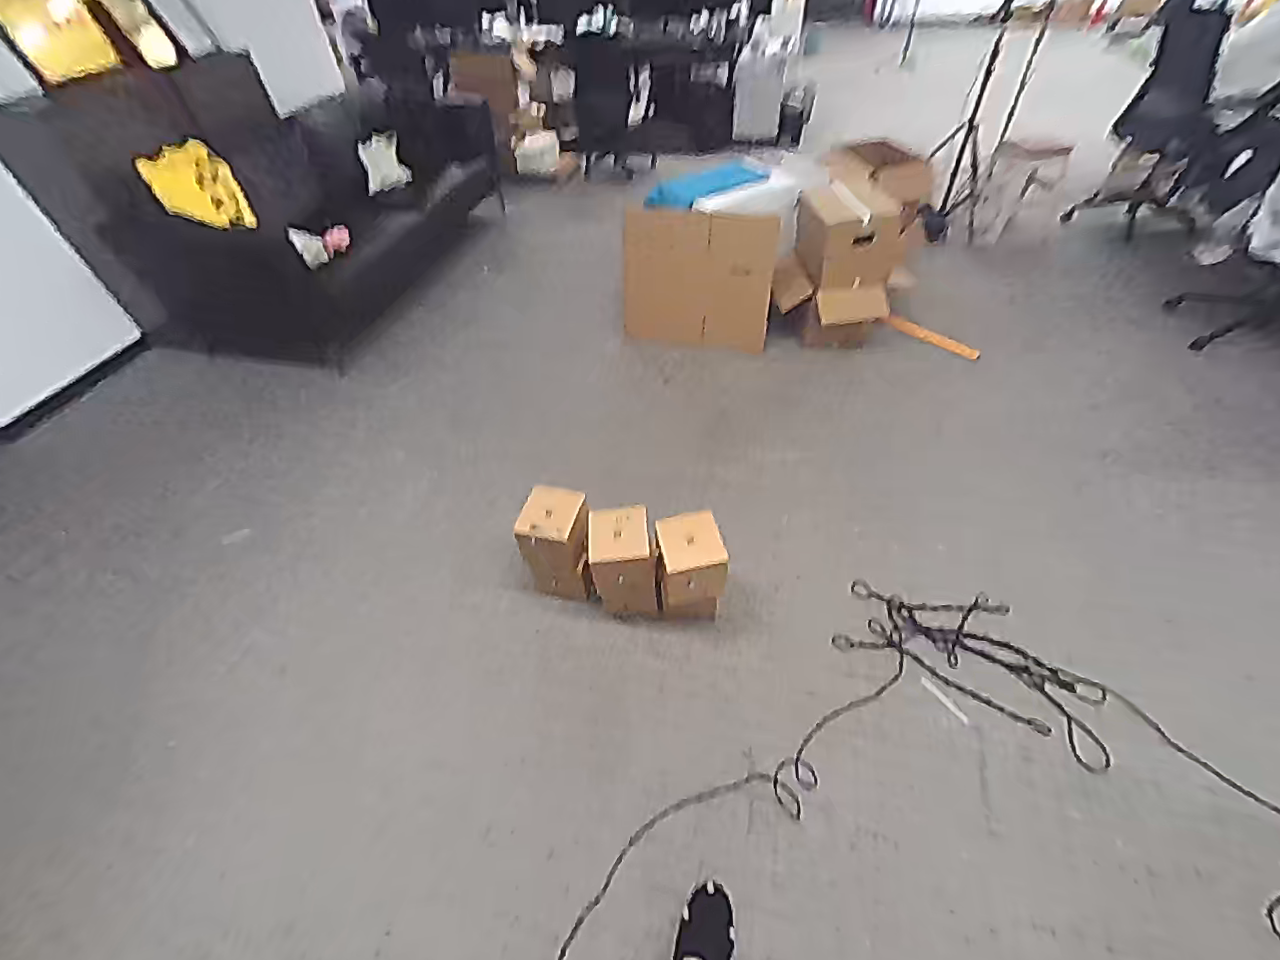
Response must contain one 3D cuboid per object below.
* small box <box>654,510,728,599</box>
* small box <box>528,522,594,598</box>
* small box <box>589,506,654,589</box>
[{"bbox_3d":[0.142,0.214,1.506,0.168,0.176,0.179,-11,45,-5],"label":"small box"},{"bbox_3d":[-0.233,0.259,1.727,0.179,0.176,0.168,7,47,13],"label":"small box"},{"bbox_3d":[-0.052,0.199,1.541,0.168,0.176,0.179,-5,46,1],"label":"small box"}]
